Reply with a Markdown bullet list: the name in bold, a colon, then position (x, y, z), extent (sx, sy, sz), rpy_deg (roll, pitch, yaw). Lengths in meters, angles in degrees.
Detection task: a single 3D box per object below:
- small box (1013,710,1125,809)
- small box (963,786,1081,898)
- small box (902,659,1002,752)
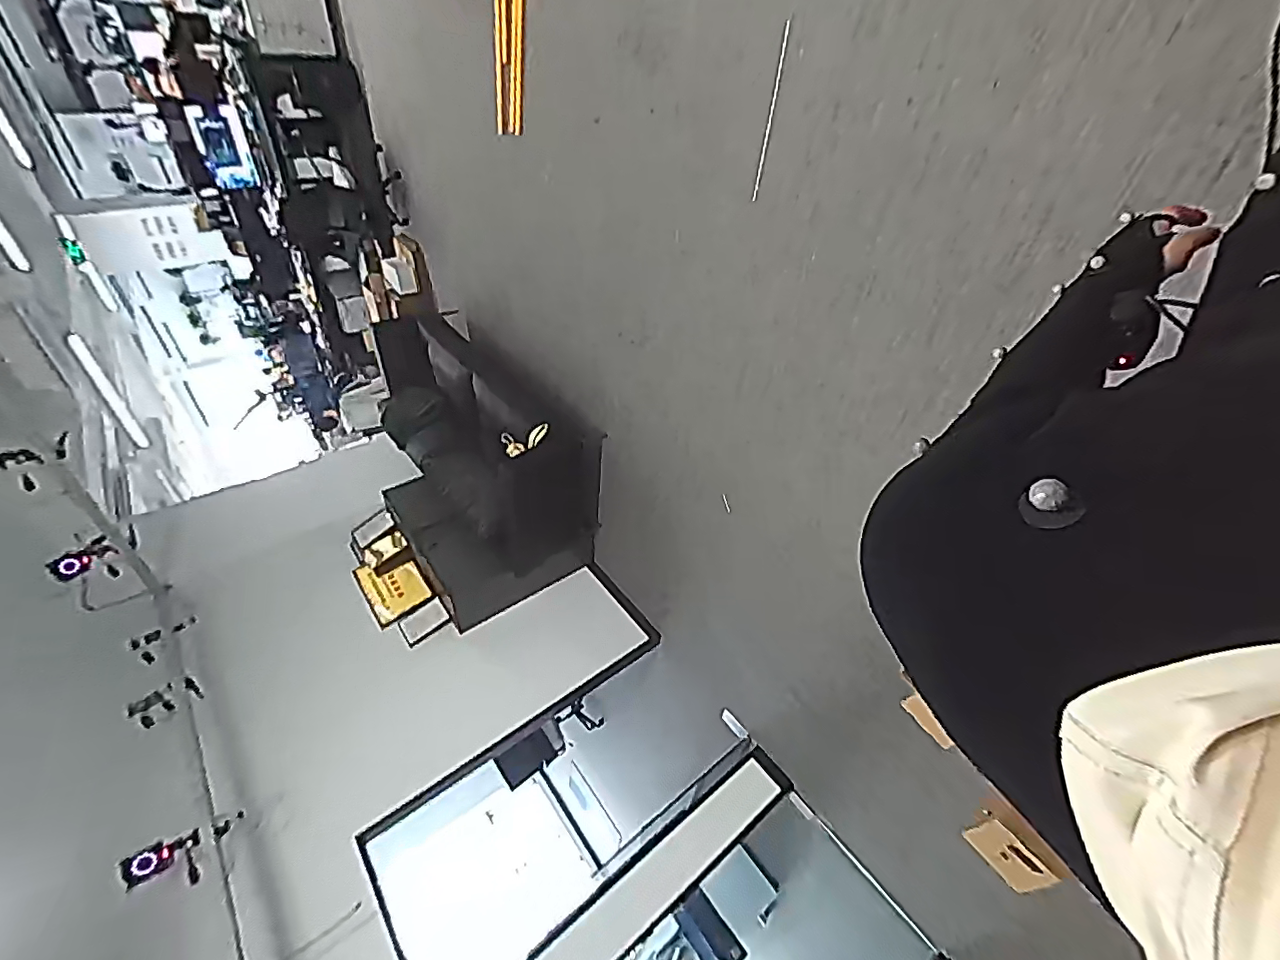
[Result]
- **small box**: position (1.253, 0.811, 1.577), extent (0.168, 0.176, 0.179), rpy_deg (46, 146, 30)
- **small box**: position (1.000, 0.938, 1.410), extent (0.168, 0.176, 0.179), rpy_deg (46, 147, 30)
- **small box**: position (0.945, 0.680, 1.638), extent (0.168, 0.176, 0.179), rpy_deg (47, 146, 28)
